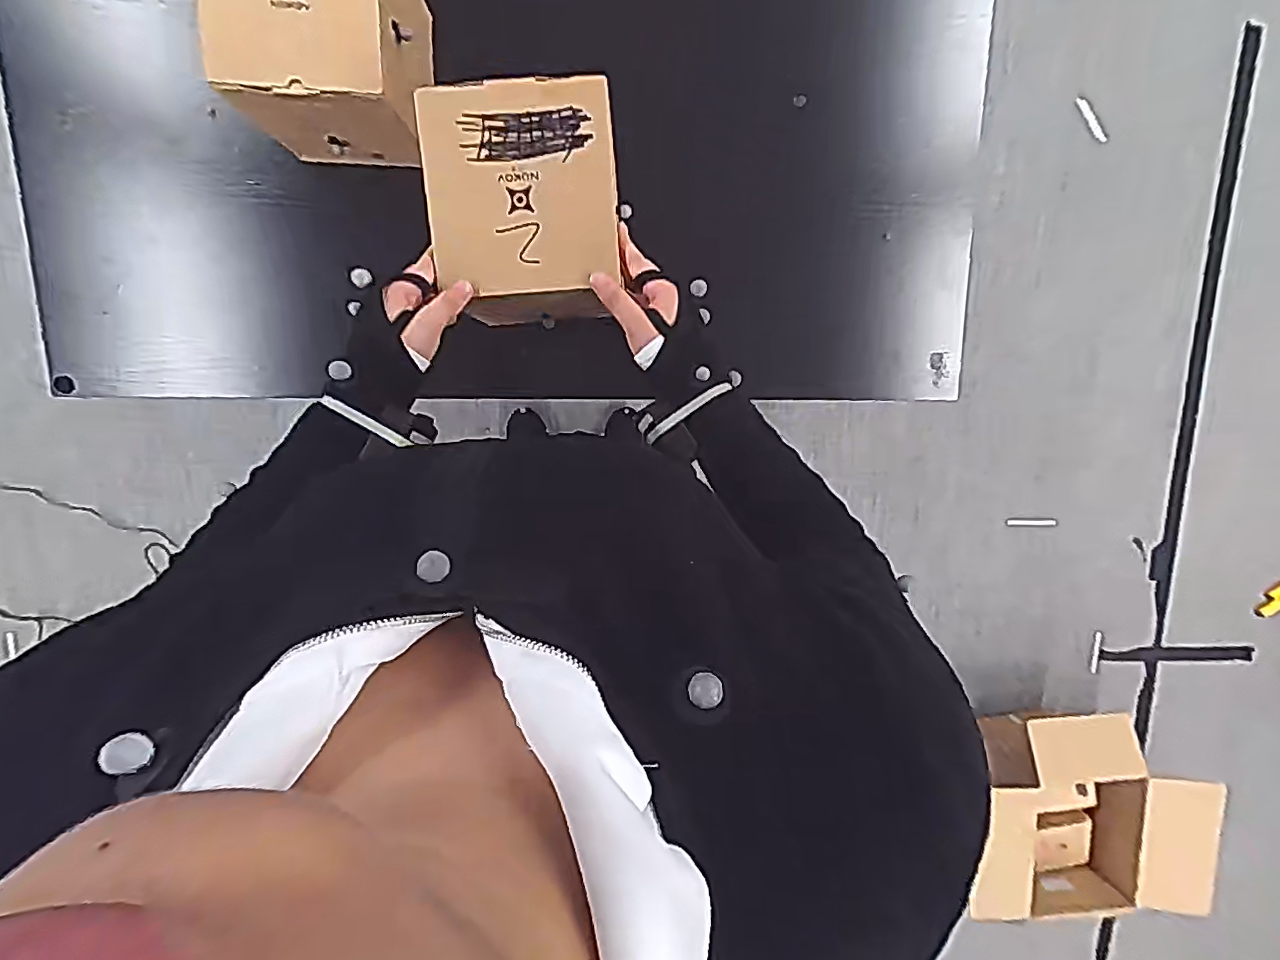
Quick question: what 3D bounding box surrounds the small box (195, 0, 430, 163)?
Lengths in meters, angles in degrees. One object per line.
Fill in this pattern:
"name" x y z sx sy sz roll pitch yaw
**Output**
"small box" -0.334 -0.474 0.581 0.168 0.176 0.179 1 99 -4
